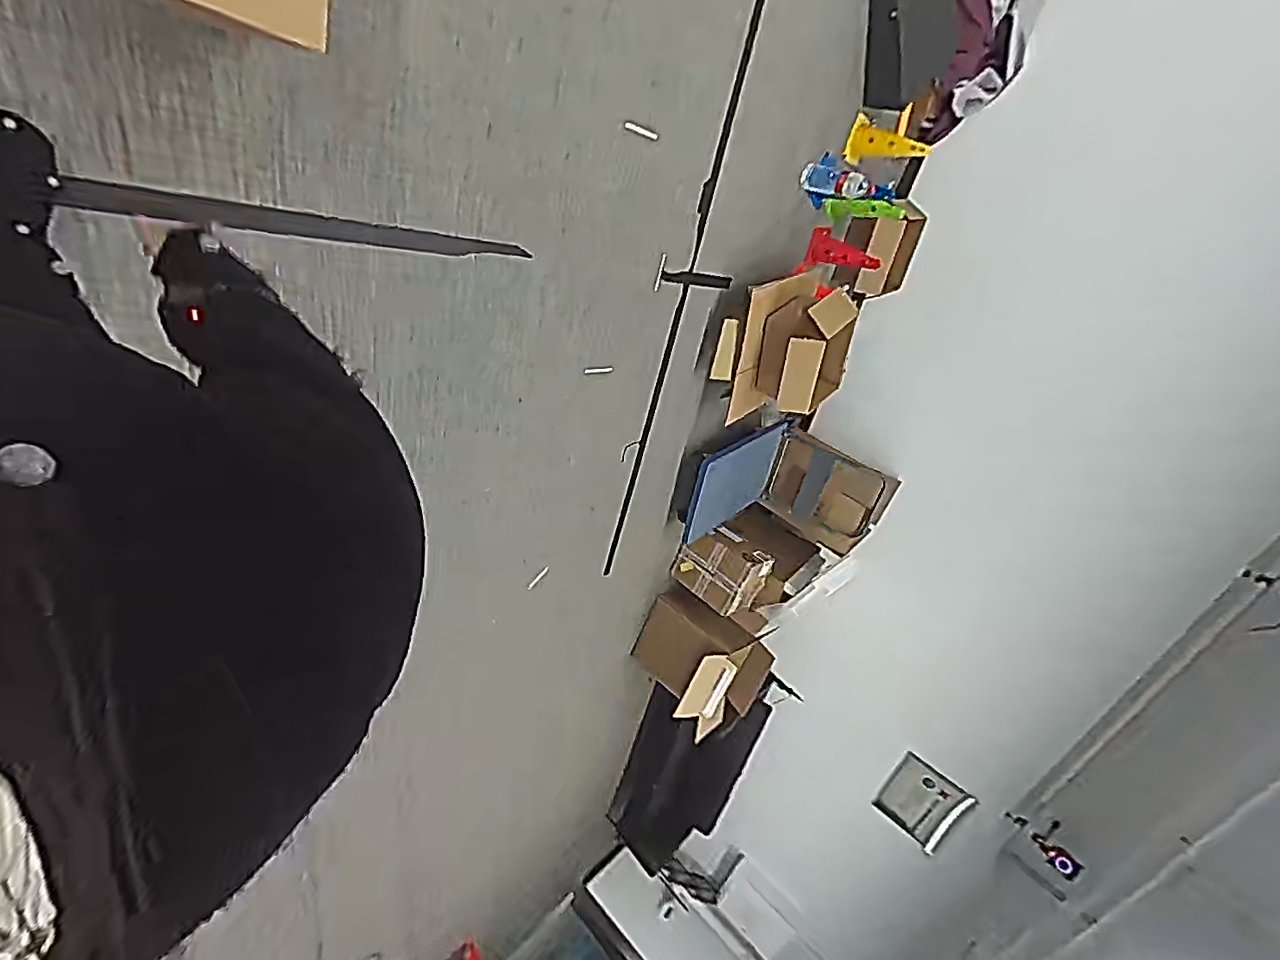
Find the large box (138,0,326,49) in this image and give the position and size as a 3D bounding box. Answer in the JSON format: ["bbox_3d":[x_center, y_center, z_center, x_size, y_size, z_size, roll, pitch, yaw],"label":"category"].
[{"bbox_3d":[-0.684,-0.826,0.697,0.408,0.320,0.320,-16,131,-50],"label":"large box"}]
